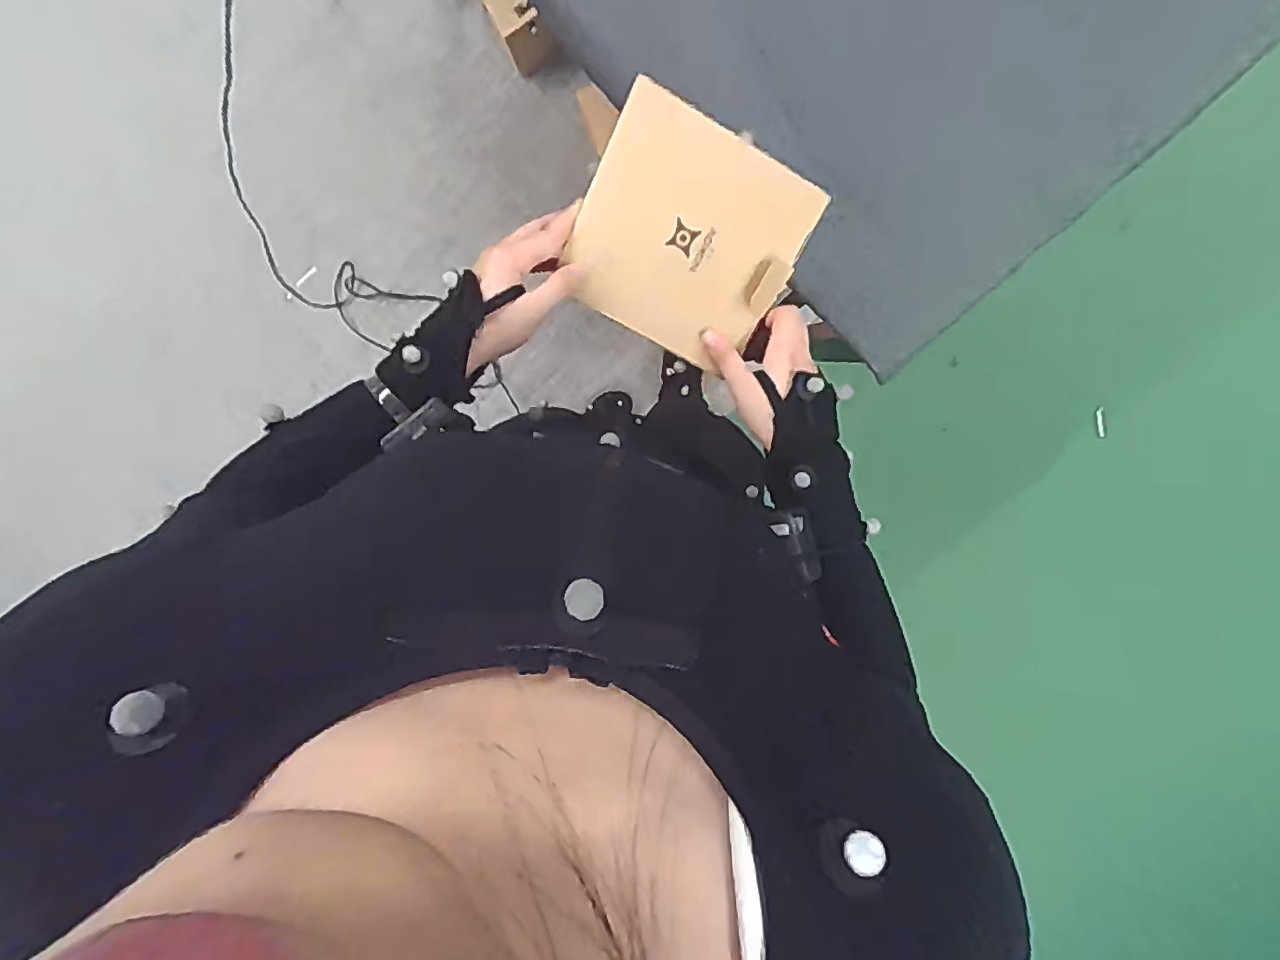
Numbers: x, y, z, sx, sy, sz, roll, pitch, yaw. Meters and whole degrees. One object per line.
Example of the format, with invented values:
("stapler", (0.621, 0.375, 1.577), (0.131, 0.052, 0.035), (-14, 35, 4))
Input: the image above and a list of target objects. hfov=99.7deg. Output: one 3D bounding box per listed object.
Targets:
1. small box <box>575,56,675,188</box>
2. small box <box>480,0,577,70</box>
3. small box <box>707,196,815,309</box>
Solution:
("small box", (-0.028, -0.788, 1.217), (0.168, 0.176, 0.179), (-22, 101, 5))
("small box", (-0.254, -1.045, 1.160), (0.168, 0.176, 0.179), (-30, 100, 8))
("small box", (0.275, -0.522, 1.274), (0.168, 0.176, 0.179), (-36, 101, 9))
